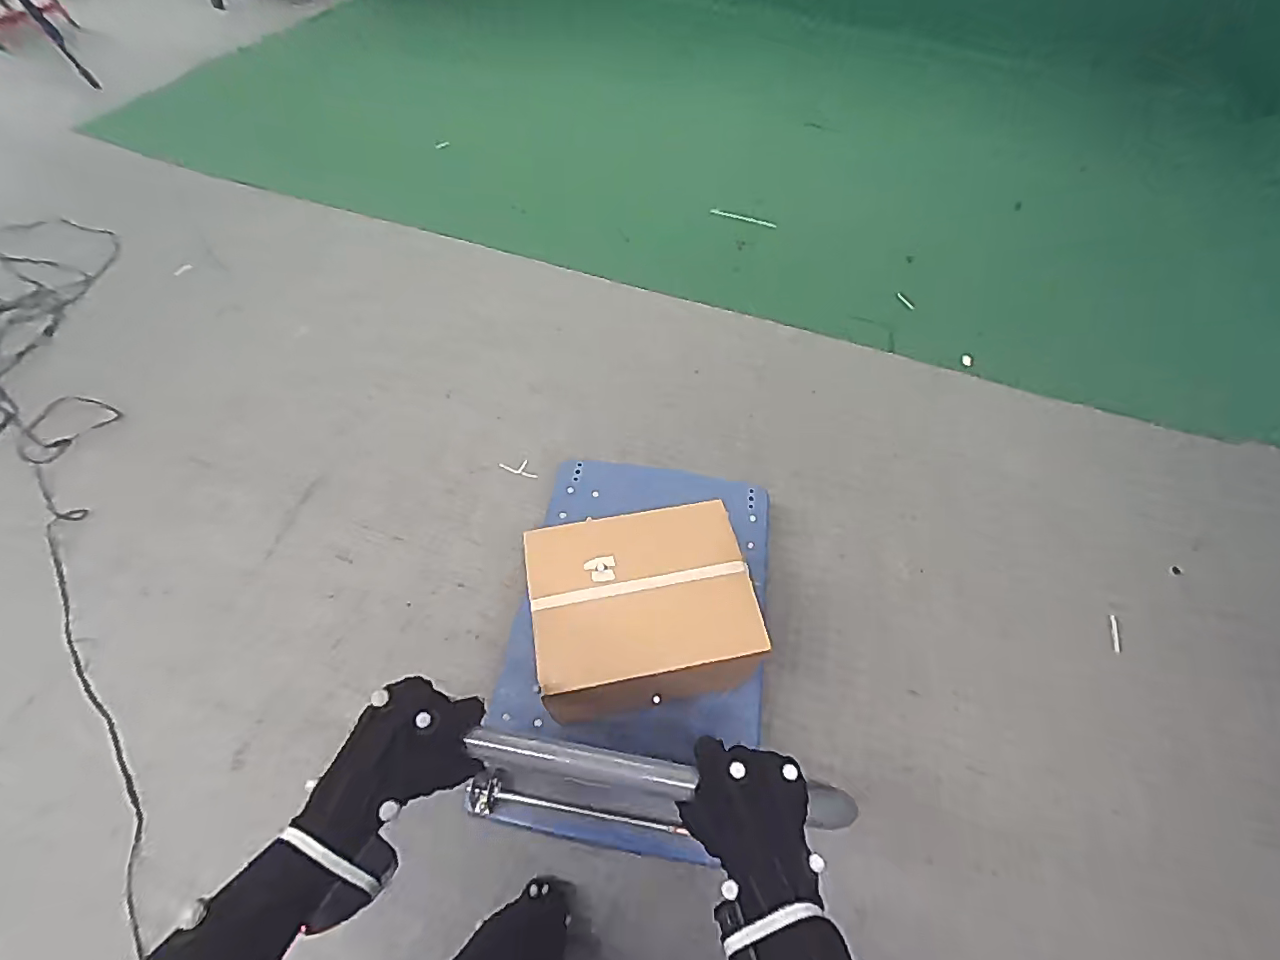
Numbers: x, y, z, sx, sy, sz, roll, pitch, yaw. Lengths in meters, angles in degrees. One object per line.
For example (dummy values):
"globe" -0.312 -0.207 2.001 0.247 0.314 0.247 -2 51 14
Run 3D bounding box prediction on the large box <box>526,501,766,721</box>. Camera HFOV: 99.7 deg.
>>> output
"large box" 0.000 0.282 1.132 0.408 0.320 0.320 -10 57 -7
